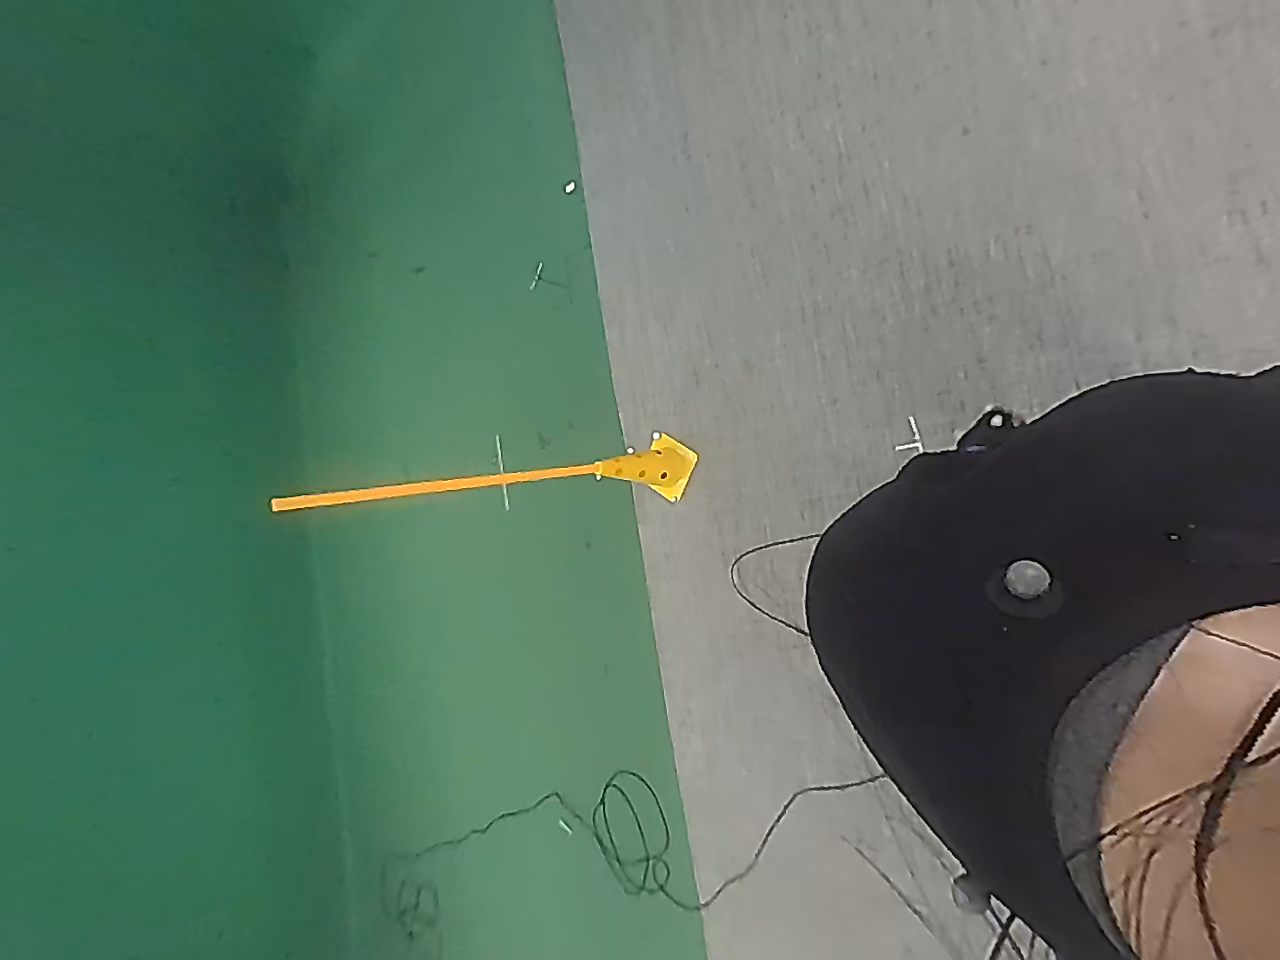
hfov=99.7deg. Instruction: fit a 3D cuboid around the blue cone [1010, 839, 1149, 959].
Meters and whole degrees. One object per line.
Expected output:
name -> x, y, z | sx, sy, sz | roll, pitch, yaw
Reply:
blue cone -> 0.868, 0.921, 1.068 | 0.193, 0.380, 0.192 | 43, 117, 28
